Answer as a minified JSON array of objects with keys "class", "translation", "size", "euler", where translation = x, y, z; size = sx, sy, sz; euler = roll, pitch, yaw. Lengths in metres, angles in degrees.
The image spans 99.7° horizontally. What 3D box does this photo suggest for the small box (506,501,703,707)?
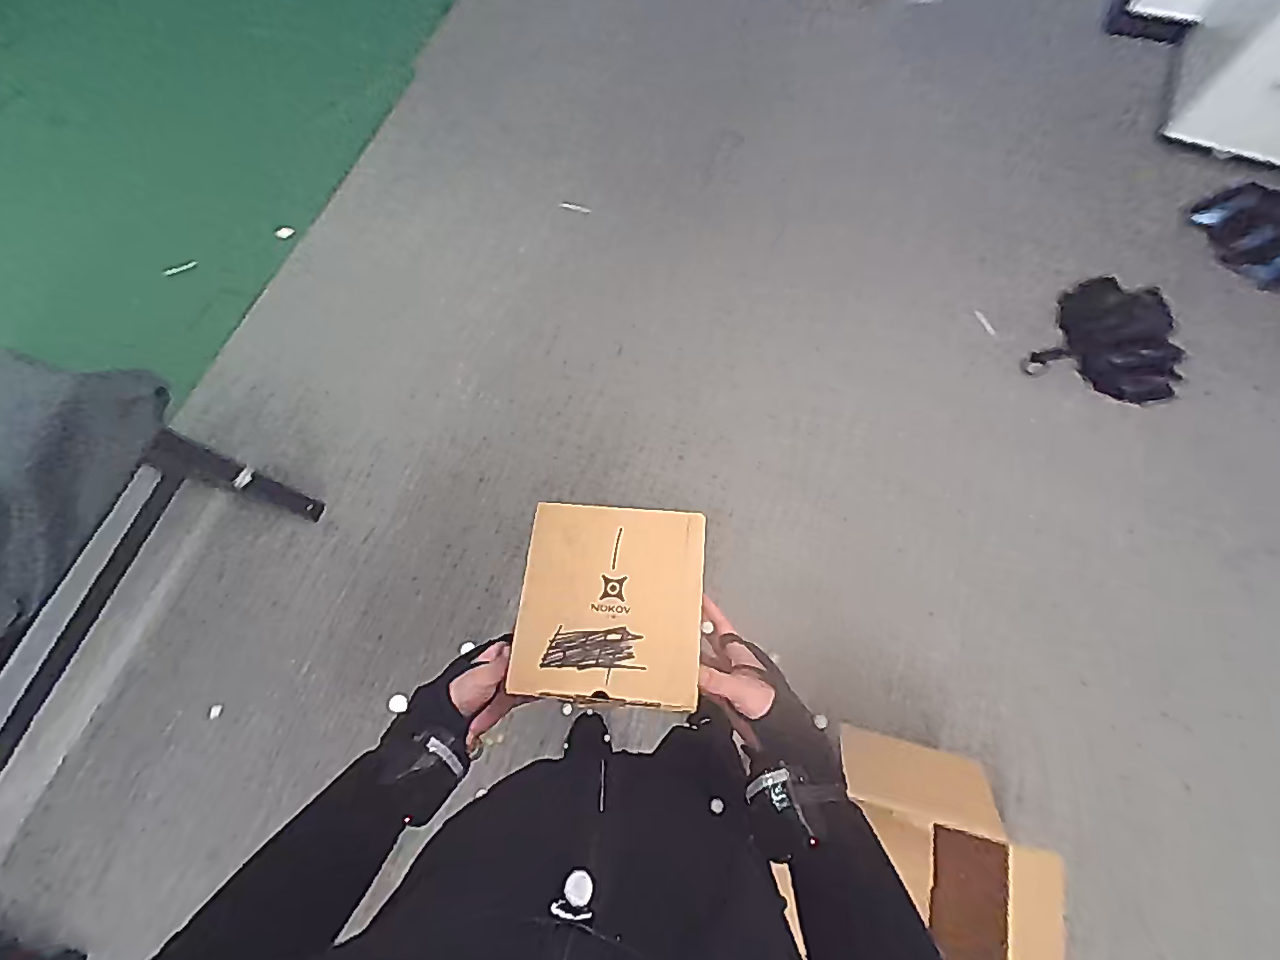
[{"class":"small box","translation":[-0.024,0.135,0.559],"size":[0.168,0.176,0.179],"euler":[3,66,4]}]
